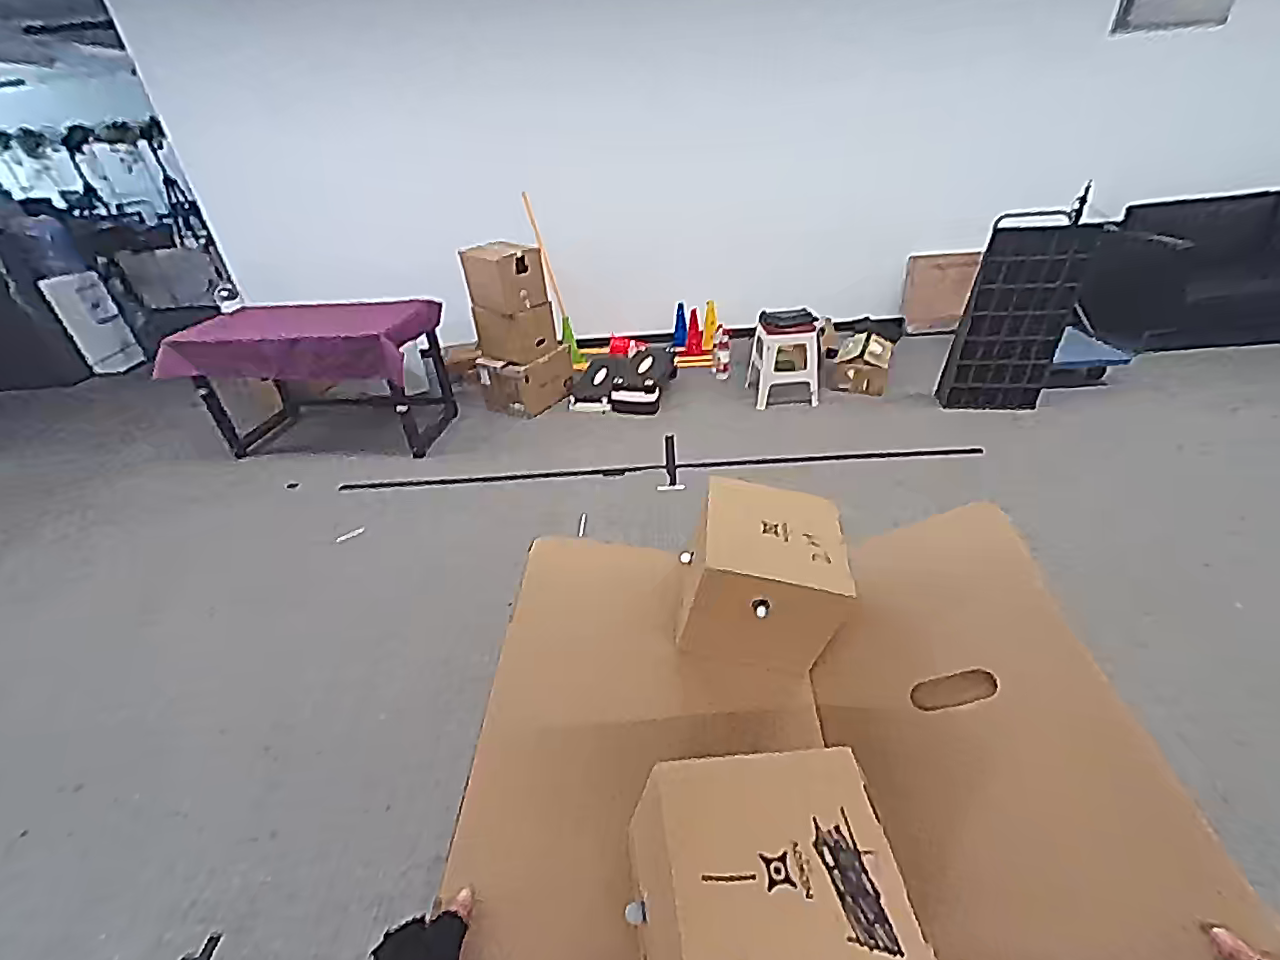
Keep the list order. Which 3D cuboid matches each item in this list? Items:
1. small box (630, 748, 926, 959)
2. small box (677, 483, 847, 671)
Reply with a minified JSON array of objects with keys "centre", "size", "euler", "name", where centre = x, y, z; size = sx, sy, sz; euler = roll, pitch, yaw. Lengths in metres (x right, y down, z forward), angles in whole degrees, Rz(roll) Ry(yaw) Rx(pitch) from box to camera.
[{"centre":[0.095,0.349,0.458],"size":[0.179,0.176,0.168],"euler":[1,41,-11],"name":"small box"},{"centre":[0.152,0.132,0.726],"size":[0.179,0.176,0.168],"euler":[12,40,0],"name":"small box"}]
